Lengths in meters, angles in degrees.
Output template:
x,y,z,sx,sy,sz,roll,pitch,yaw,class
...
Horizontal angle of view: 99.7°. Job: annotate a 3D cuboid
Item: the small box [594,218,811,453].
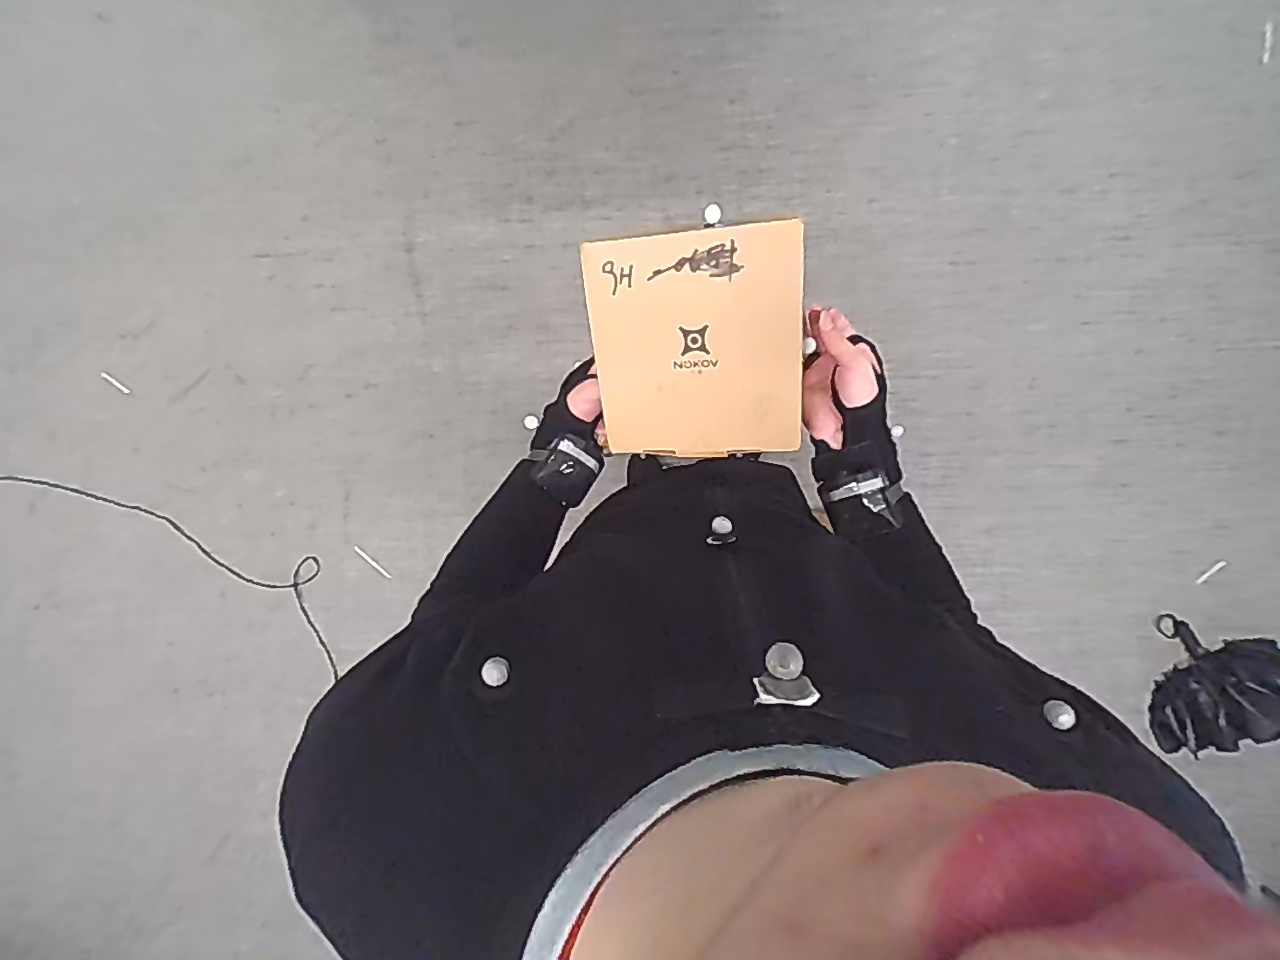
x,y,z,sx,sy,sz,roll,pitch,yaw,class
0.068,-0.138,0.508,0.168,0.176,0.179,0,117,13,small box
